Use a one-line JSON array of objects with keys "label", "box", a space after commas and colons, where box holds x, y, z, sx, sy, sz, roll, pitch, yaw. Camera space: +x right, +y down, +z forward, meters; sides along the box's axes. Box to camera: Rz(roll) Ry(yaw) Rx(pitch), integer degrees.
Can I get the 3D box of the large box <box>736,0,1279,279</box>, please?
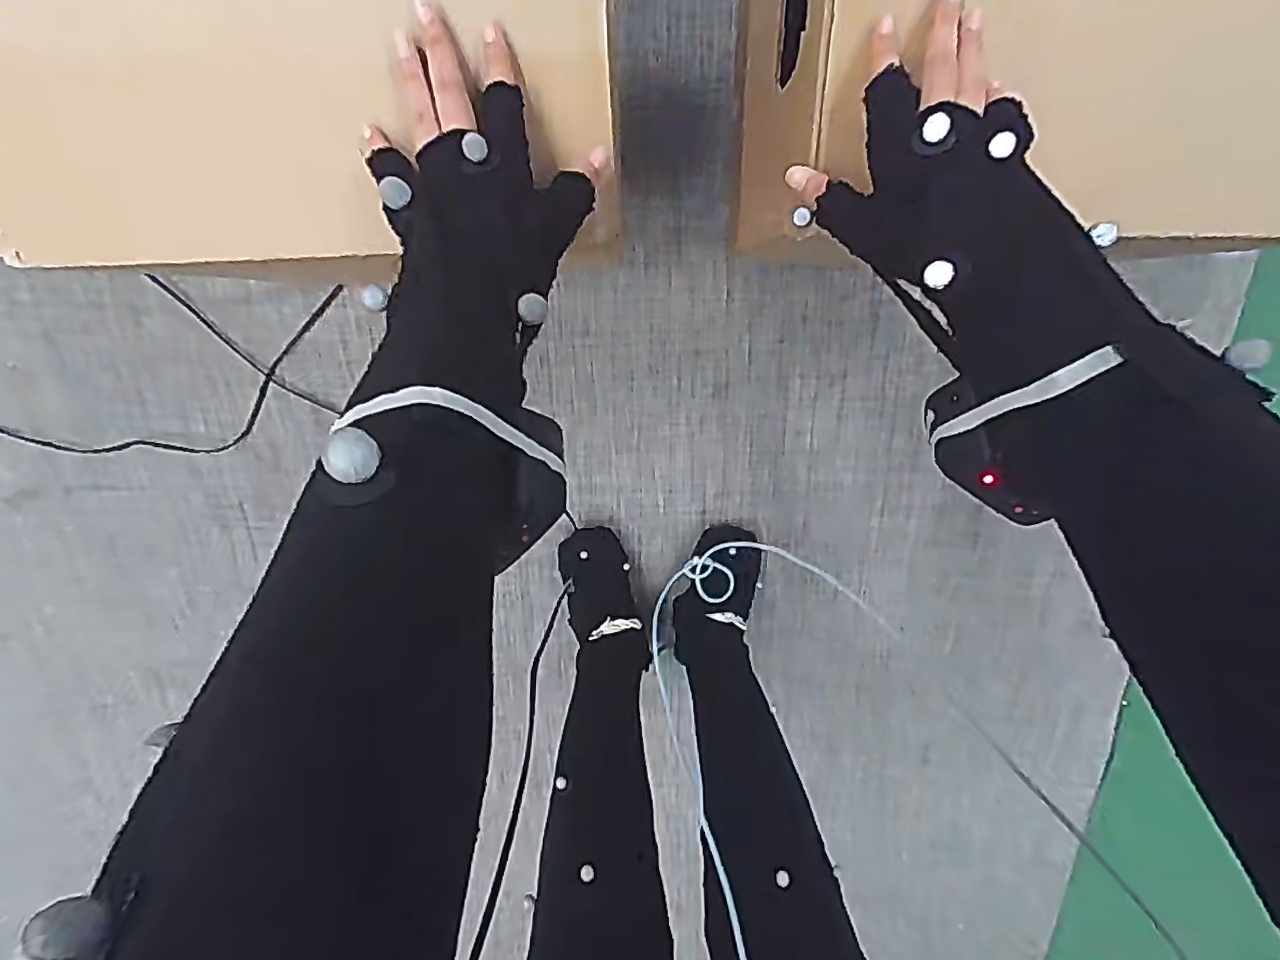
[{"label": "large box", "box": [0.318, -0.349, 0.488, 0.408, 0.320, 0.320, 0, 108, 0]}]
